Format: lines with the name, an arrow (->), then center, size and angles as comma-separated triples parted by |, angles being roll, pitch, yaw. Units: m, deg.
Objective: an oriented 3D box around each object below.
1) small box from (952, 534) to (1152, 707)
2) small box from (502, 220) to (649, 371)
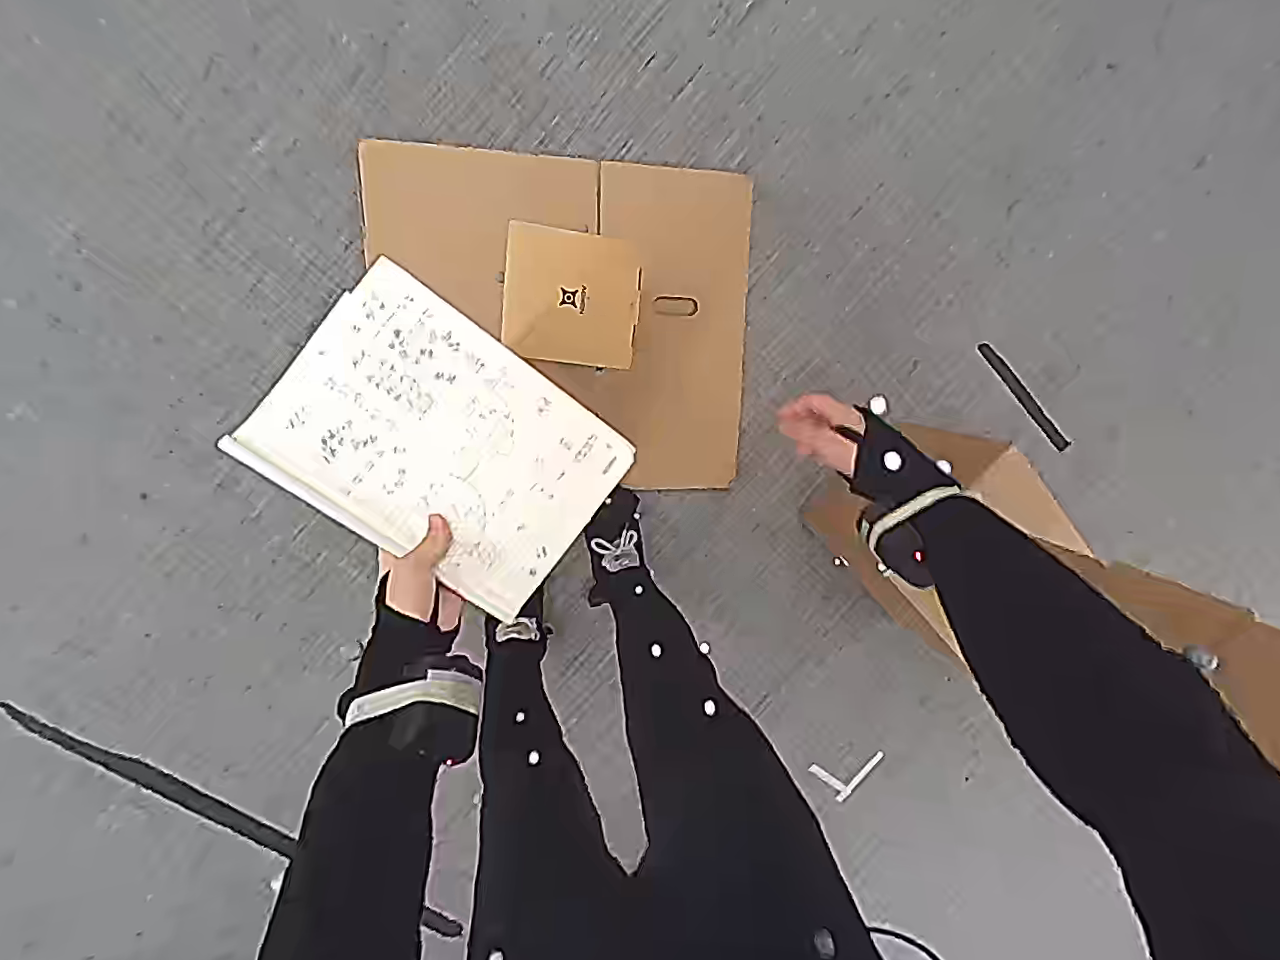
small box -> 0.652, 0.219, 0.881 | 0.168, 0.176, 0.179 | 39, 93, -18
small box -> -0.100, -0.248, 0.766 | 0.179, 0.176, 0.168 | 4, 102, -15
